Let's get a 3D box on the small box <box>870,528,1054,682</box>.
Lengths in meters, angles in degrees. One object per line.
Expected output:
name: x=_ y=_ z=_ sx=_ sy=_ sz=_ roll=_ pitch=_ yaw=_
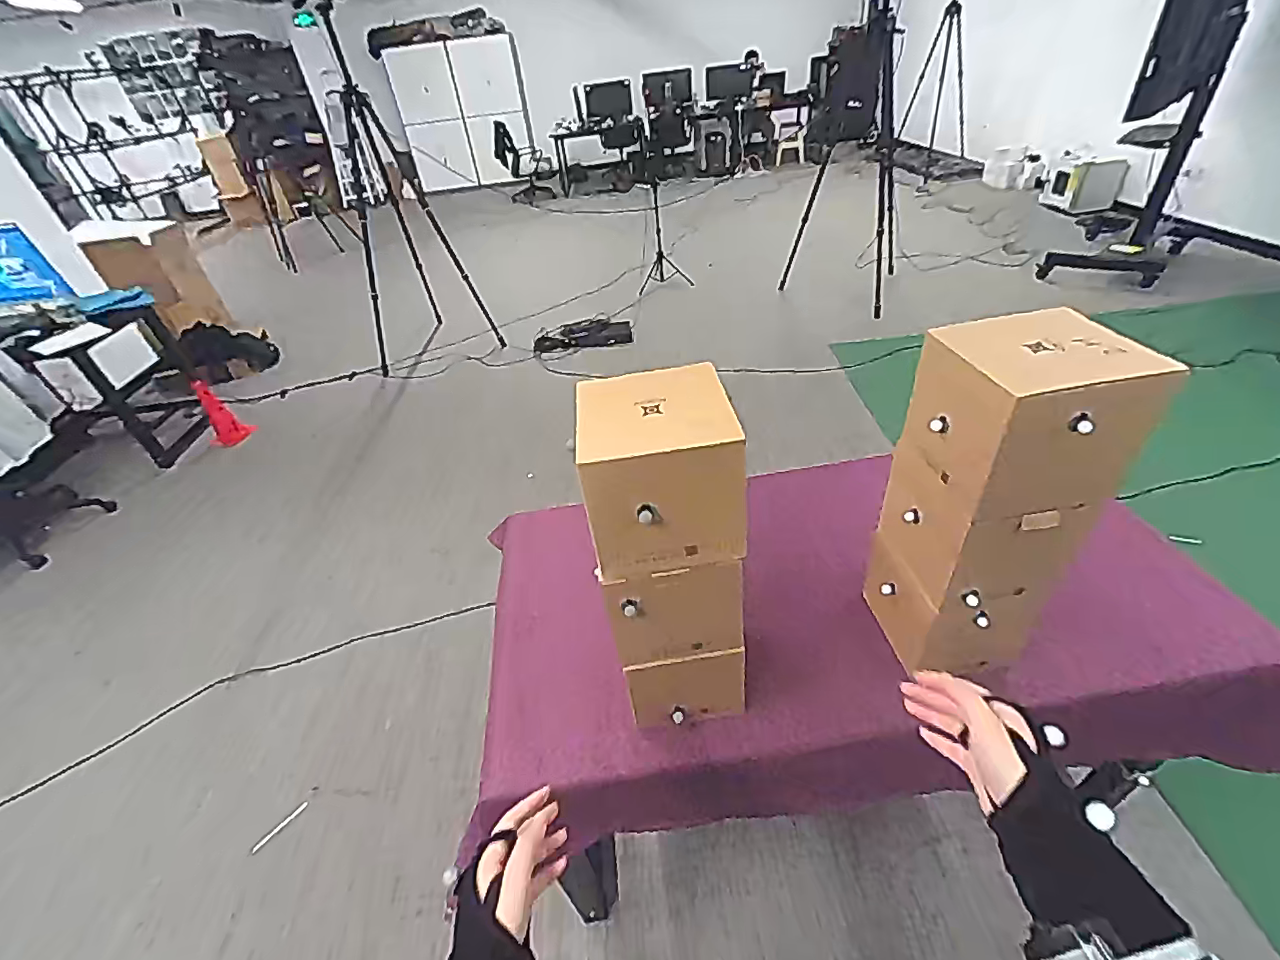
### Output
small box: x=0.476 y=0.180 z=0.836 sx=0.168 sy=0.176 sz=0.179 roll=-10 pitch=38 yaw=0

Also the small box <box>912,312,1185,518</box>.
small box: x=0.442 y=-0.073 z=0.628 sx=0.179 sy=0.176 sz=0.168 roll=-9 pitch=39 yaw=-1

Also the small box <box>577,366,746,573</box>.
small box: x=0.024 y=-0.008 z=0.628 sx=0.168 sy=0.176 sz=0.179 roll=-9 pitch=37 yaw=0

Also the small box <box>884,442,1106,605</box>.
small box: x=0.458 y=0.052 z=0.735 sx=0.168 sy=0.176 sz=0.179 roll=-9 pitch=38 yaw=-2

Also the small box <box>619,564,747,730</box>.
small box: x=0.062 y=0.250 z=0.827 sx=0.168 sy=0.176 sz=0.179 roll=-9 pitch=39 yaw=0
